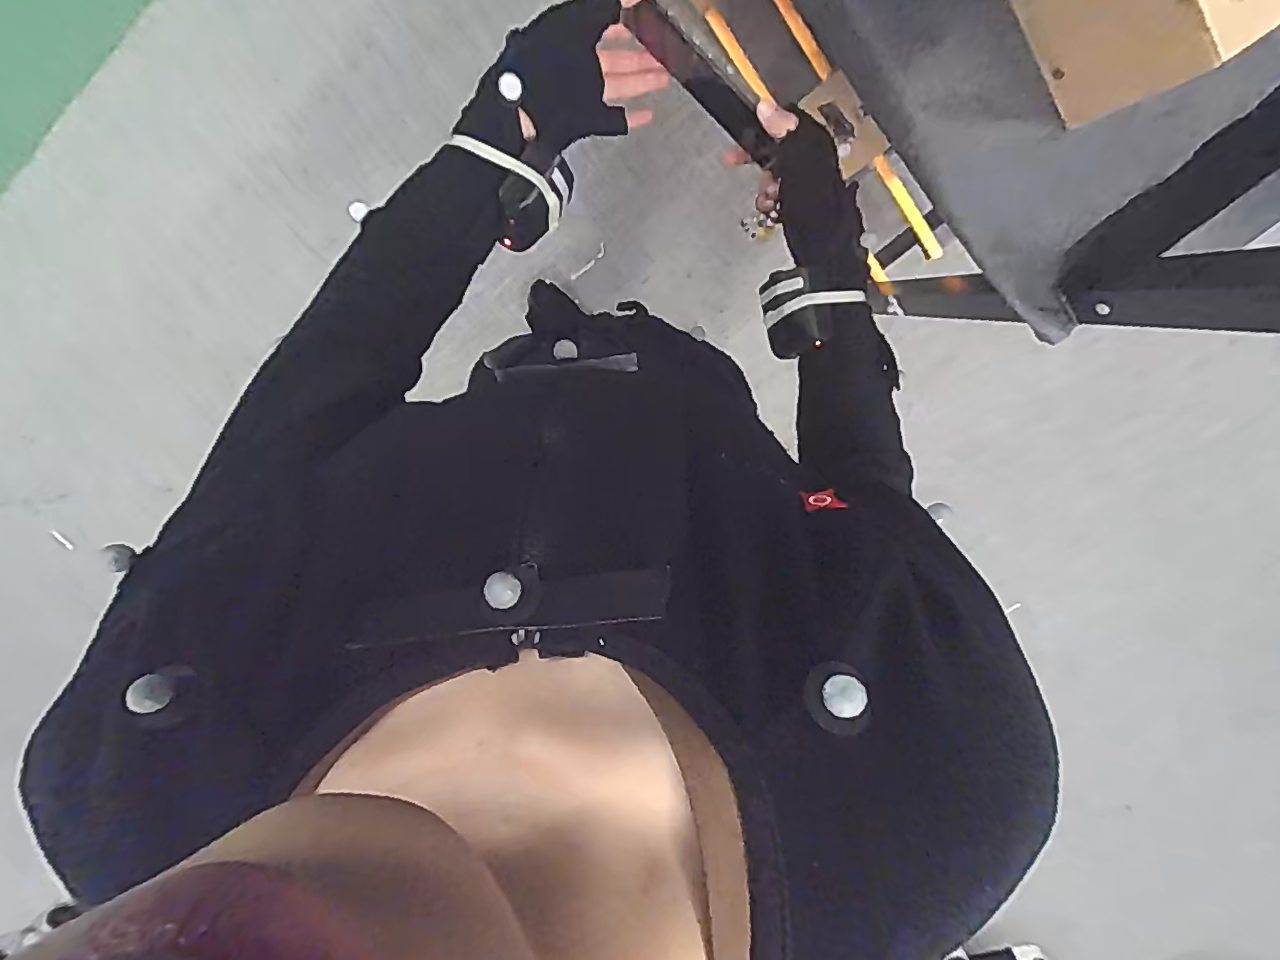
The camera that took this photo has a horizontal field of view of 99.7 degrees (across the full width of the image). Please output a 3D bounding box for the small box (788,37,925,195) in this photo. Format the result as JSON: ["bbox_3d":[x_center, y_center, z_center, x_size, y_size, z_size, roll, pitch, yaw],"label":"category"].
[{"bbox_3d":[0.410,-0.696,1.062,0.179,0.176,0.168,-34,105,11],"label":"small box"}]
